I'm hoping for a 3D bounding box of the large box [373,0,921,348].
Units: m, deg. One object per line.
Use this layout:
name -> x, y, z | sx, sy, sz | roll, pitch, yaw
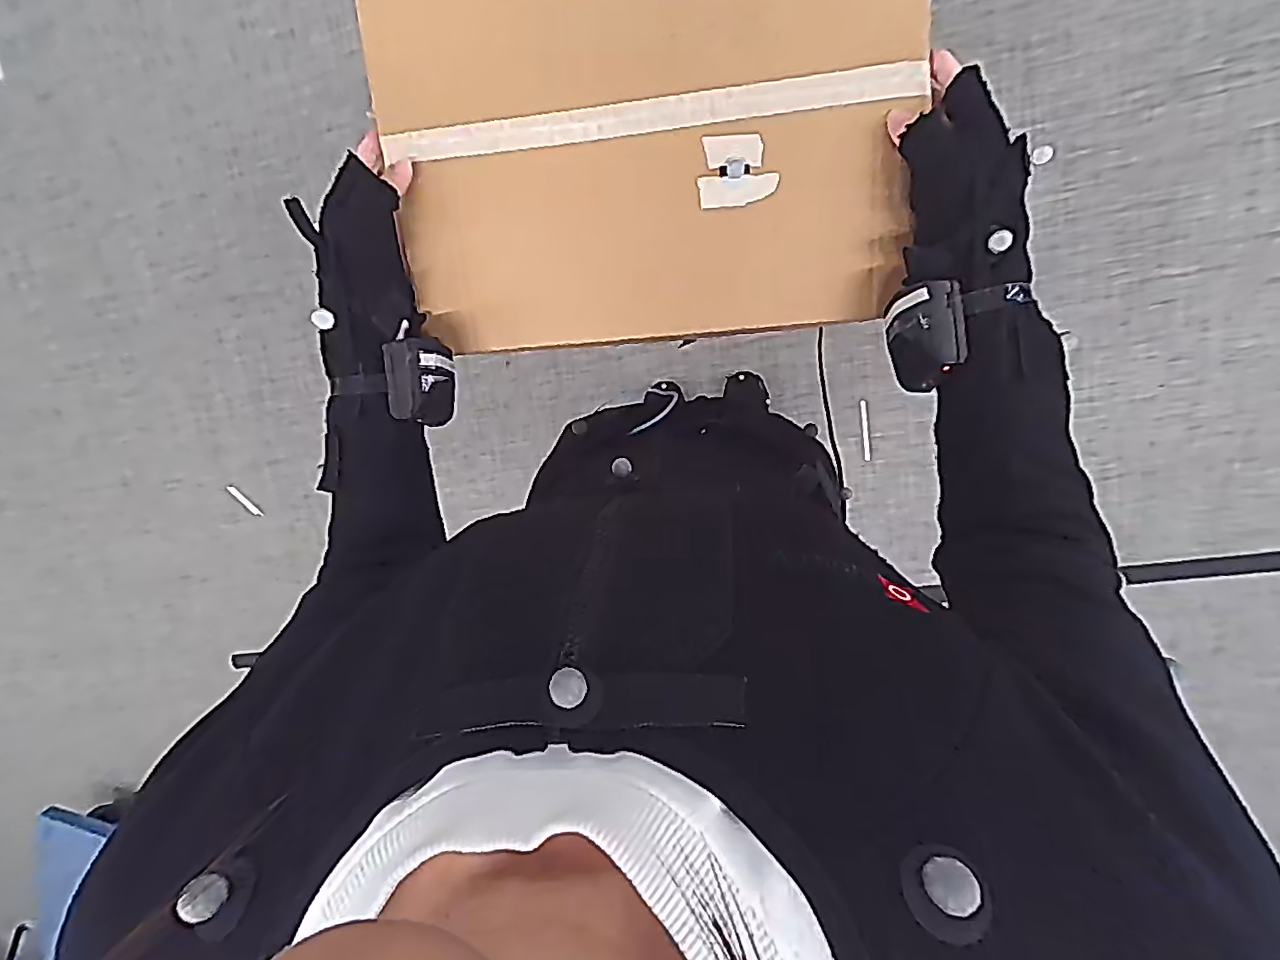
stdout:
large box -> 0.015, -0.314, 0.555 | 0.408, 0.320, 0.320 | -4, 105, 5
